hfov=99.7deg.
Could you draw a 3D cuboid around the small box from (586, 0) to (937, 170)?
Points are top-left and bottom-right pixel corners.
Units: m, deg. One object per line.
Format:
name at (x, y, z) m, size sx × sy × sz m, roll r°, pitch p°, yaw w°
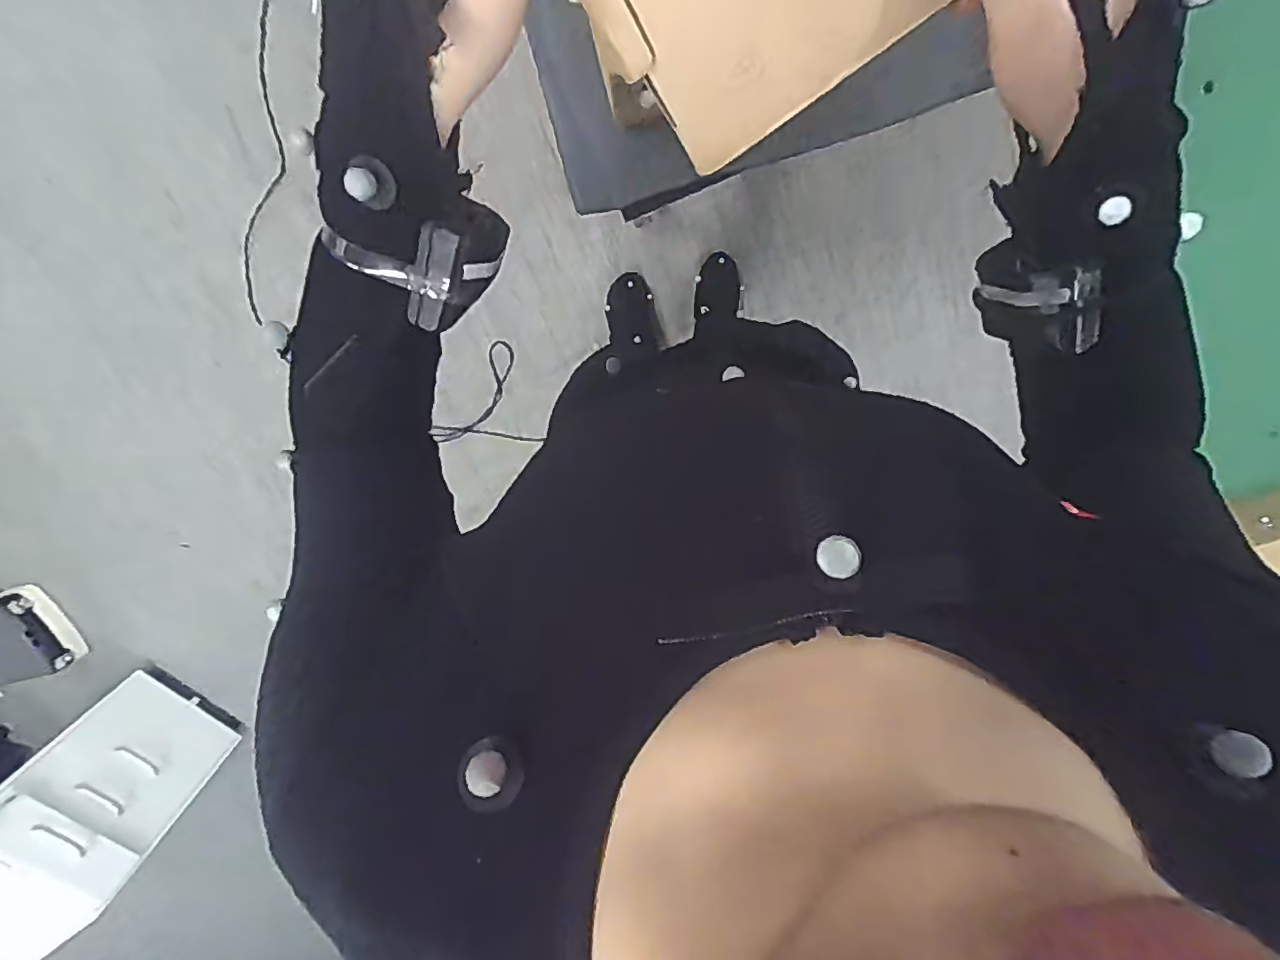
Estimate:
small box at (0.052, -0.306, 0.267) m, size 0.179 × 0.176 × 0.168 m, roll -25°, pitch 134°, yaw 26°
